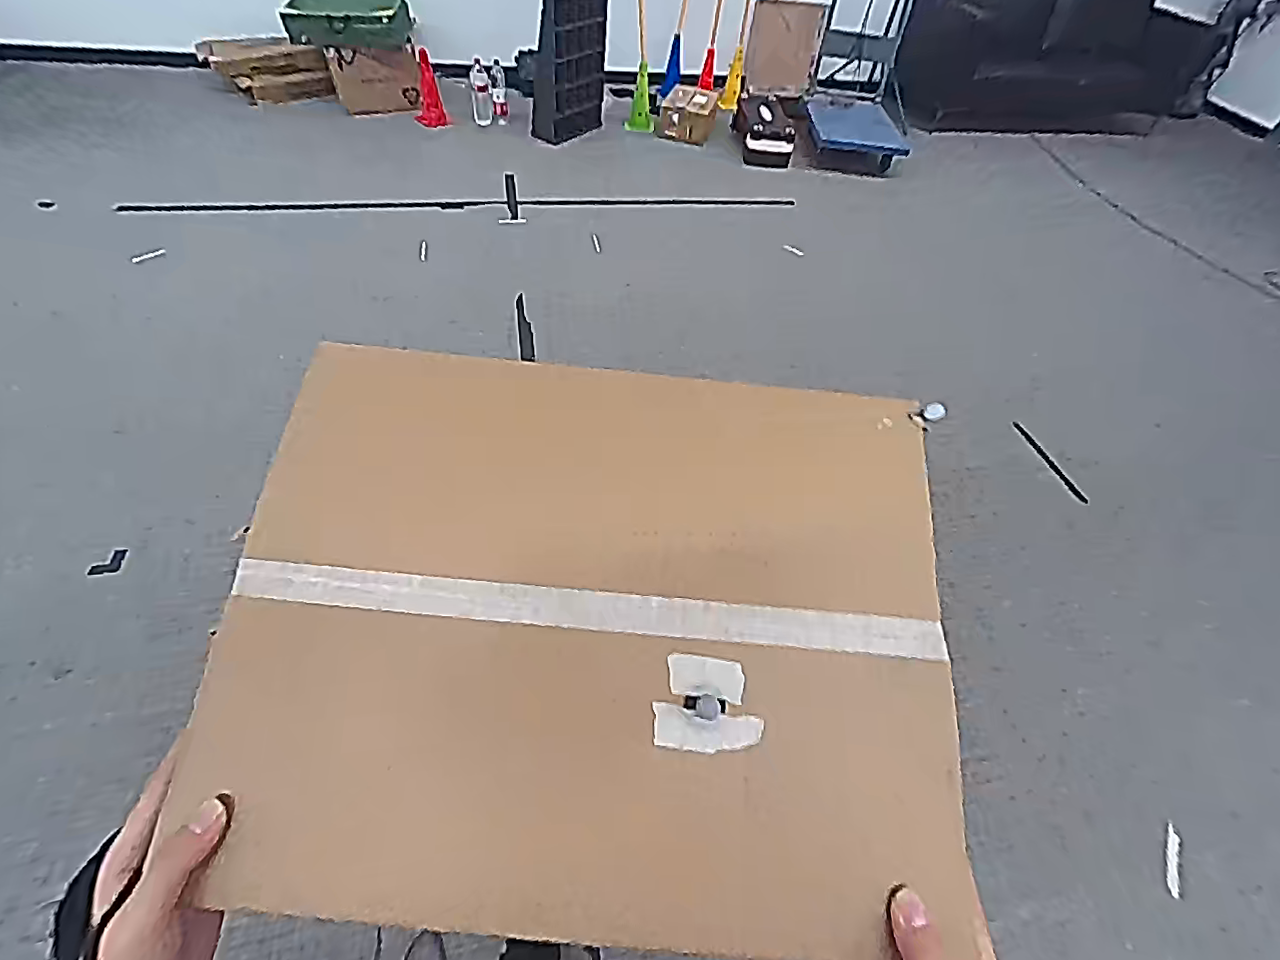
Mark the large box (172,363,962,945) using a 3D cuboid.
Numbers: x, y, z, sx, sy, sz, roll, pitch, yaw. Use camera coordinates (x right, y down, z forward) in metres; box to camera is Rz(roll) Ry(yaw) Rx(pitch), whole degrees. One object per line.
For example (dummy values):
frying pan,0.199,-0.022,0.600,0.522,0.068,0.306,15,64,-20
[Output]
large box,-0.032,0.128,0.458,0.408,0.320,0.320,5,71,-1
